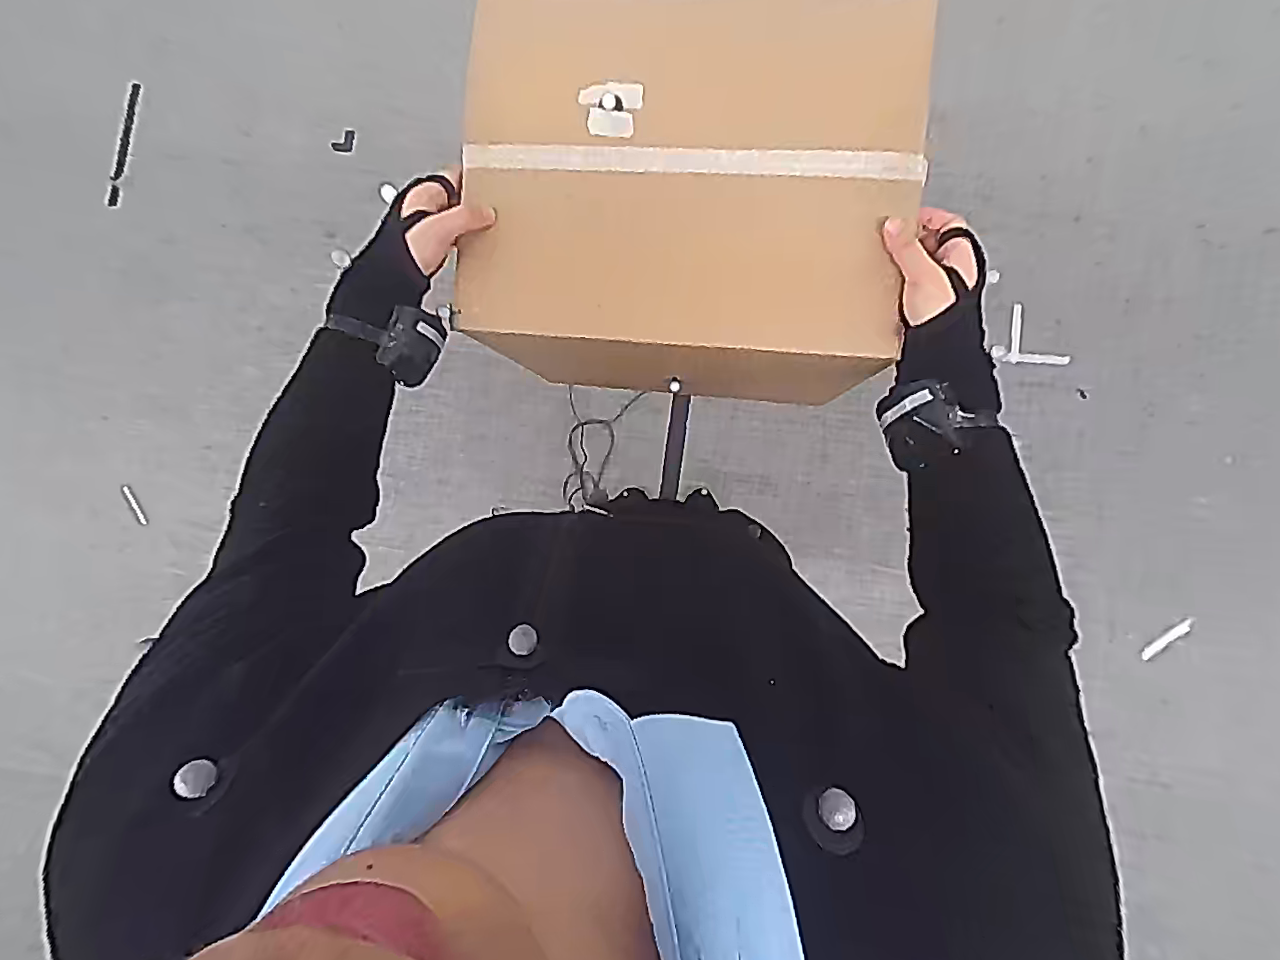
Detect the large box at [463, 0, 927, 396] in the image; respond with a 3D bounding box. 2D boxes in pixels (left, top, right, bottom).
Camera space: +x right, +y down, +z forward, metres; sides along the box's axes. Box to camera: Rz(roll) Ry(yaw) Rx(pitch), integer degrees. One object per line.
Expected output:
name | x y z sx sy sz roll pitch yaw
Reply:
large box | 0.059 -0.279 0.635 0.408 0.320 0.320 6 90 8
